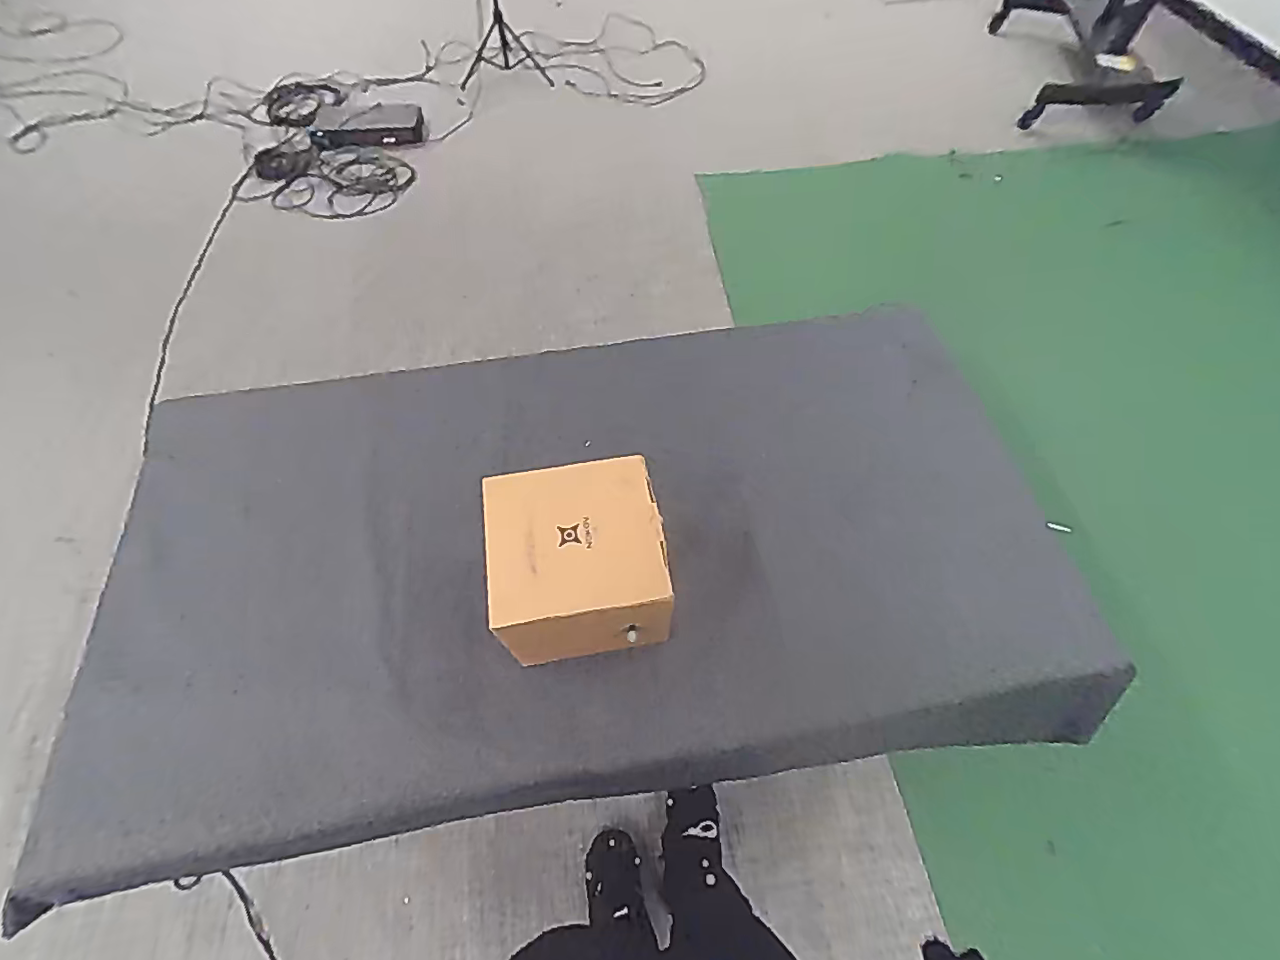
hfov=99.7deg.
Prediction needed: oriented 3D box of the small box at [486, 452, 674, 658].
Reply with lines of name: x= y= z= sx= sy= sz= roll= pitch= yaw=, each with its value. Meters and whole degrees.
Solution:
small box: x=-0.066 y=0.092 z=0.620 sx=0.179 sy=0.176 sz=0.168 roll=-10 pitch=60 yaw=-5
